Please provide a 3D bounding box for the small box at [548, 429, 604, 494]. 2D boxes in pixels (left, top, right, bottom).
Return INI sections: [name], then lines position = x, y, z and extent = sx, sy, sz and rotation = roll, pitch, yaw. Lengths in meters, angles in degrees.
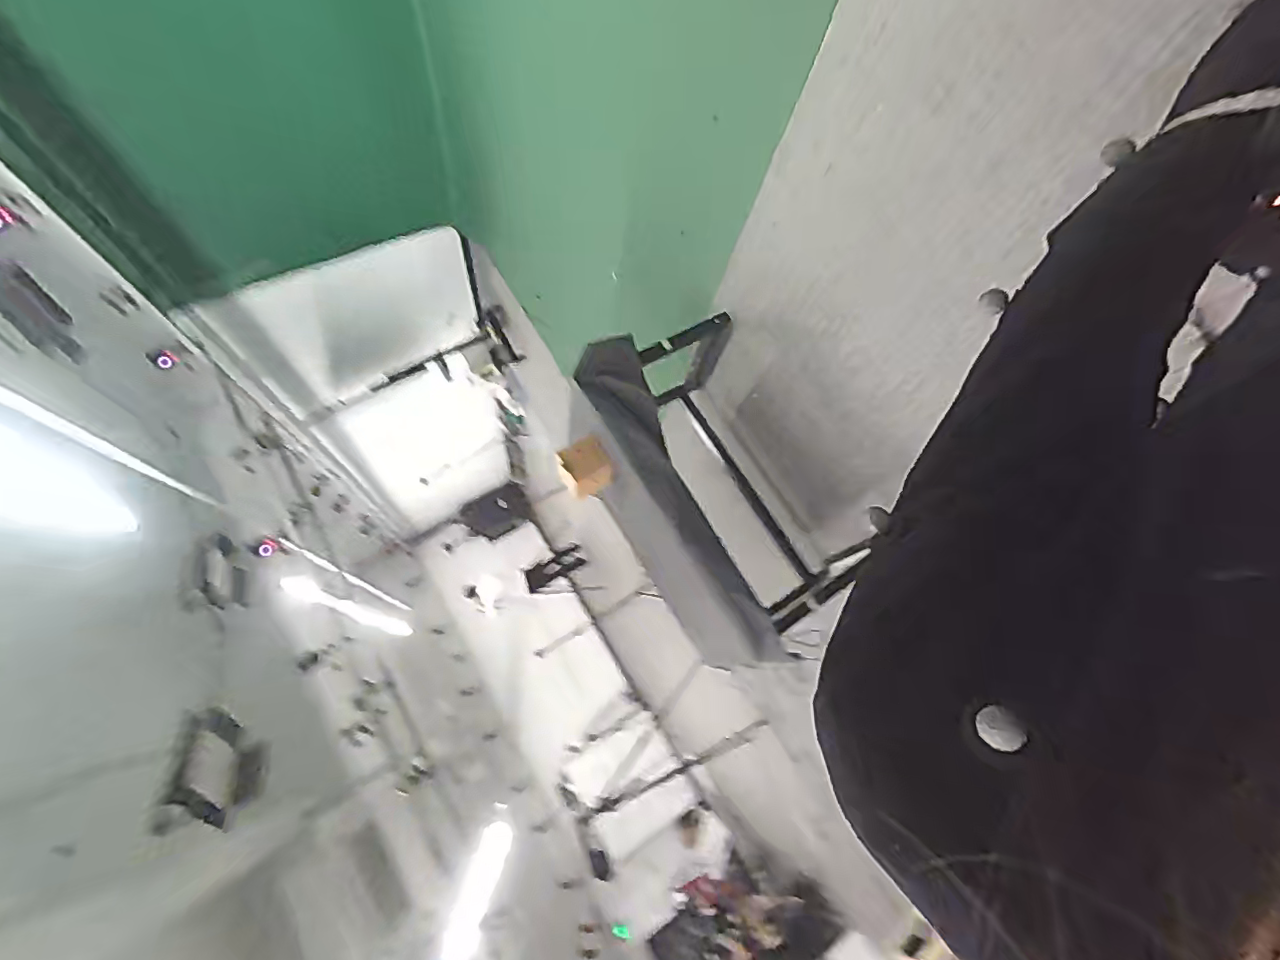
[small box]
position = -0.255, -0.079, 2.178
extent = 0.168, 0.176, 0.179
rotation = 56, 162, 19
